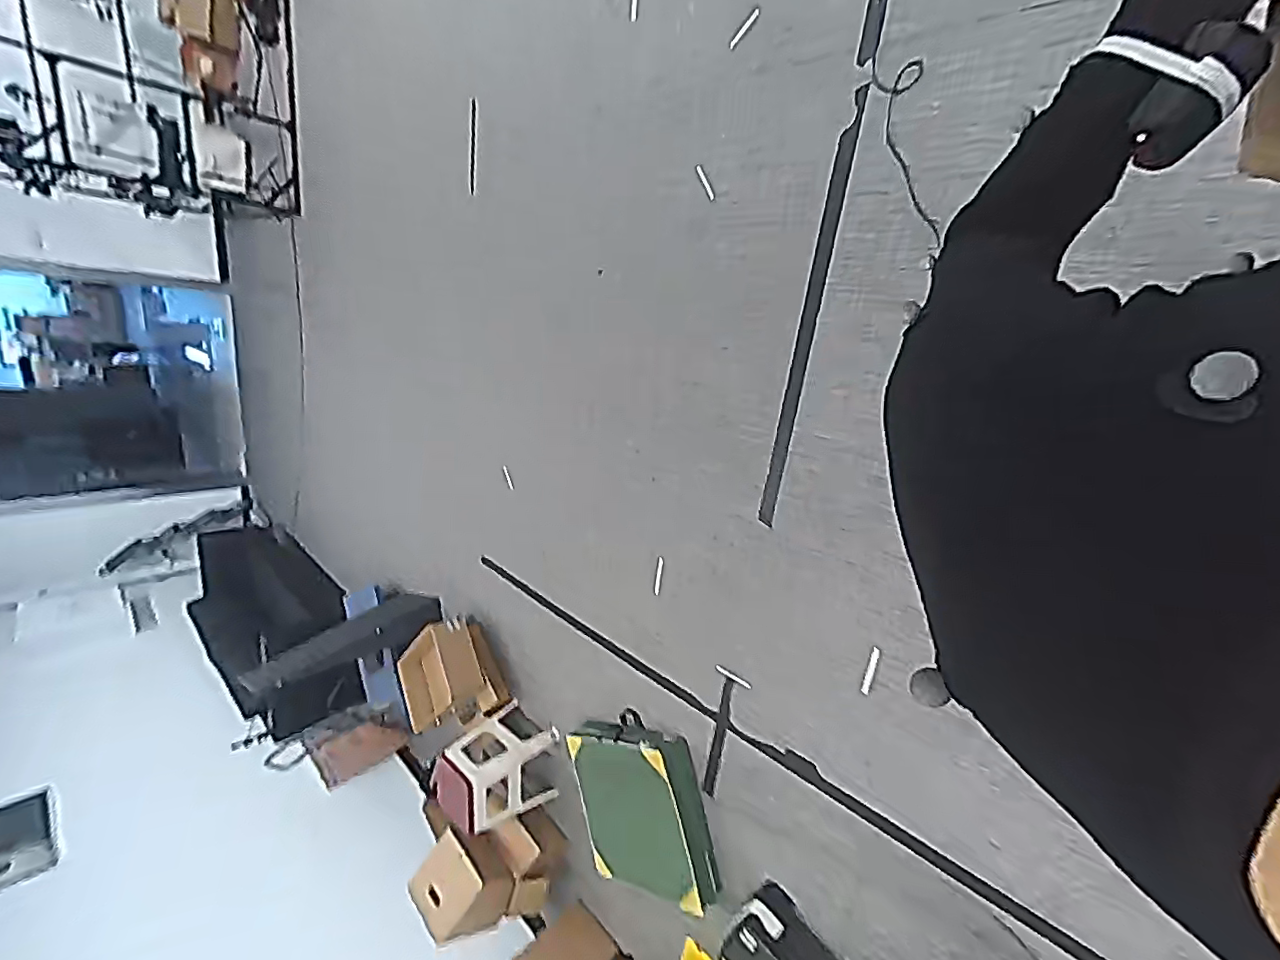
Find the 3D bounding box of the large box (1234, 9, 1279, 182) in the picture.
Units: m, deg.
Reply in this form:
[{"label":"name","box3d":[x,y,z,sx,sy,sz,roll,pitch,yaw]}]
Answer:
[{"label":"large box","box3d":[0.638,-0.301,0.239,0.408,0.320,0.320,42,123,33]}]
